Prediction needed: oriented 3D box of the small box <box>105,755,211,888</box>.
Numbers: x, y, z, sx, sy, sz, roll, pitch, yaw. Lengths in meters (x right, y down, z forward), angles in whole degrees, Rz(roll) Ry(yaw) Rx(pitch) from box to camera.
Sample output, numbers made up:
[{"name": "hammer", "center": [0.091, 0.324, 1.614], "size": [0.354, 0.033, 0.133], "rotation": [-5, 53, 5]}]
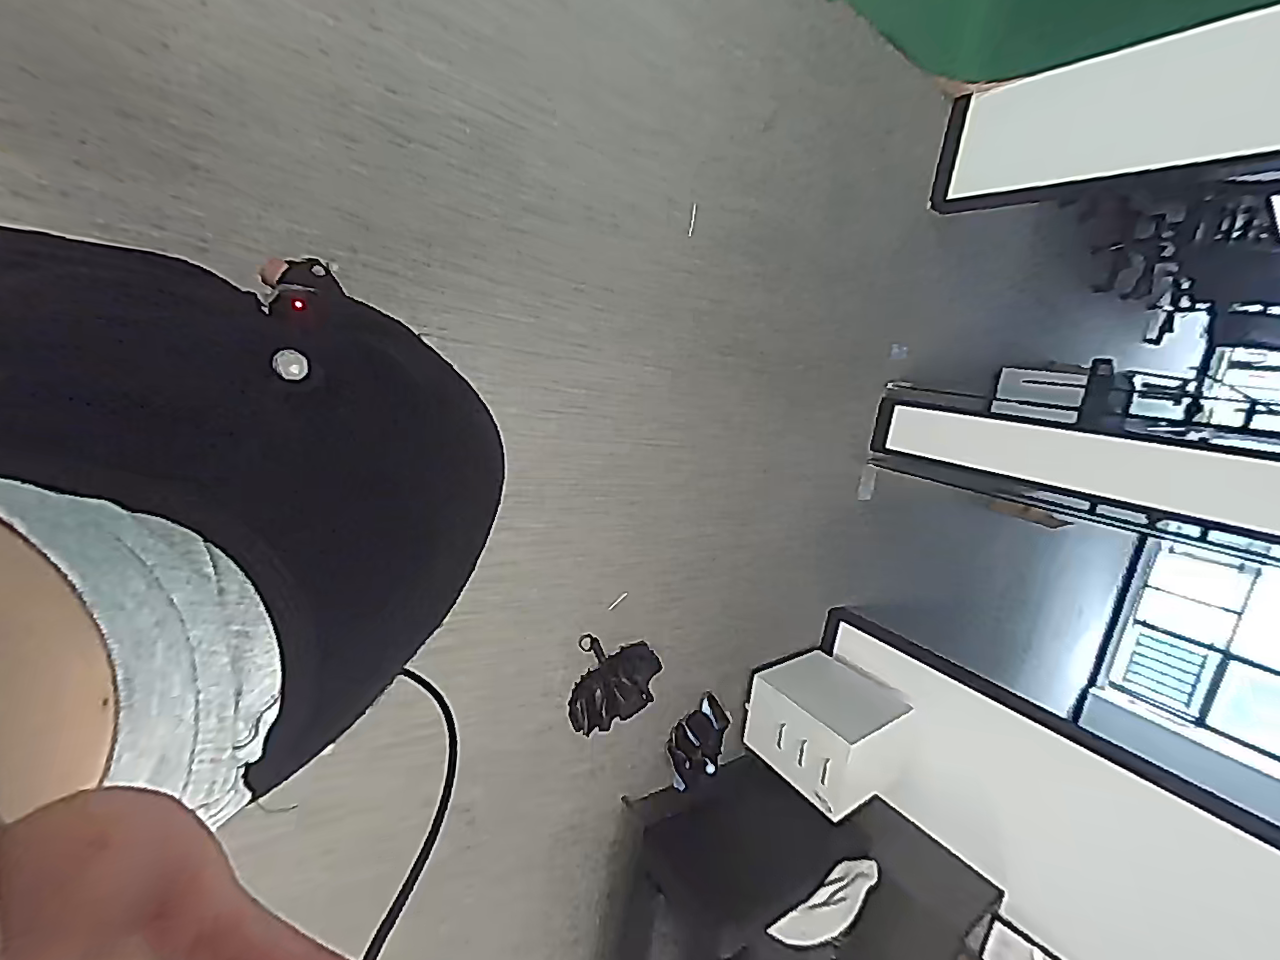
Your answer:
[{"name": "small box", "center": [-1.154, 0.814, 1.308], "size": [0.168, 0.176, 0.179], "rotation": [-8, 108, -36]}]
